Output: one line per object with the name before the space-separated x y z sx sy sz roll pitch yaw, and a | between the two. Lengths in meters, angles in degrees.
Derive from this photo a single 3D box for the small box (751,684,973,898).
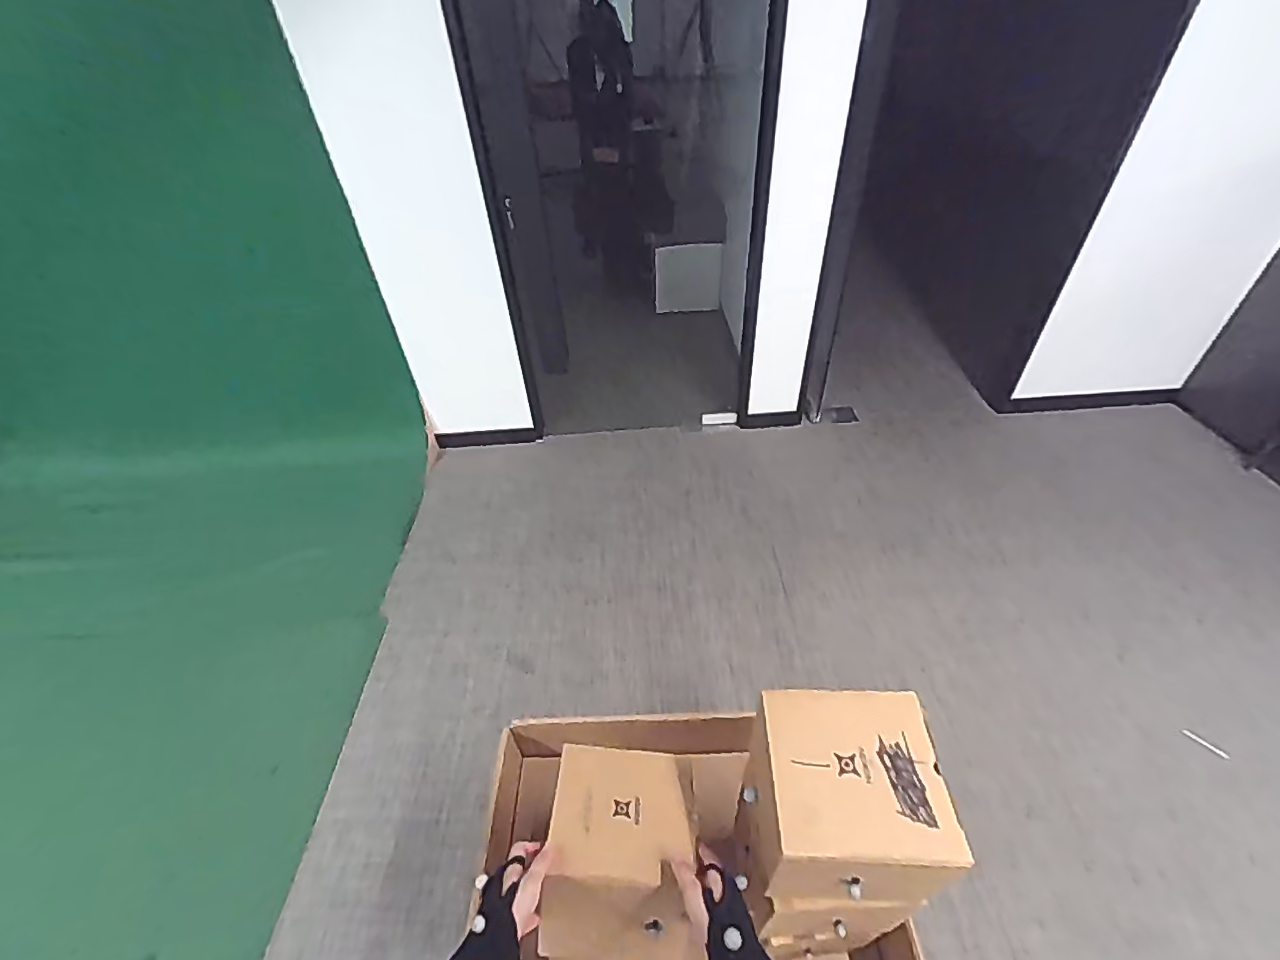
small box | 0.227 0.349 0.609 0.179 0.176 0.168 -1 42 5

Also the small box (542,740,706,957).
small box | -0.022 0.464 0.686 0.179 0.176 0.168 6 25 -2
